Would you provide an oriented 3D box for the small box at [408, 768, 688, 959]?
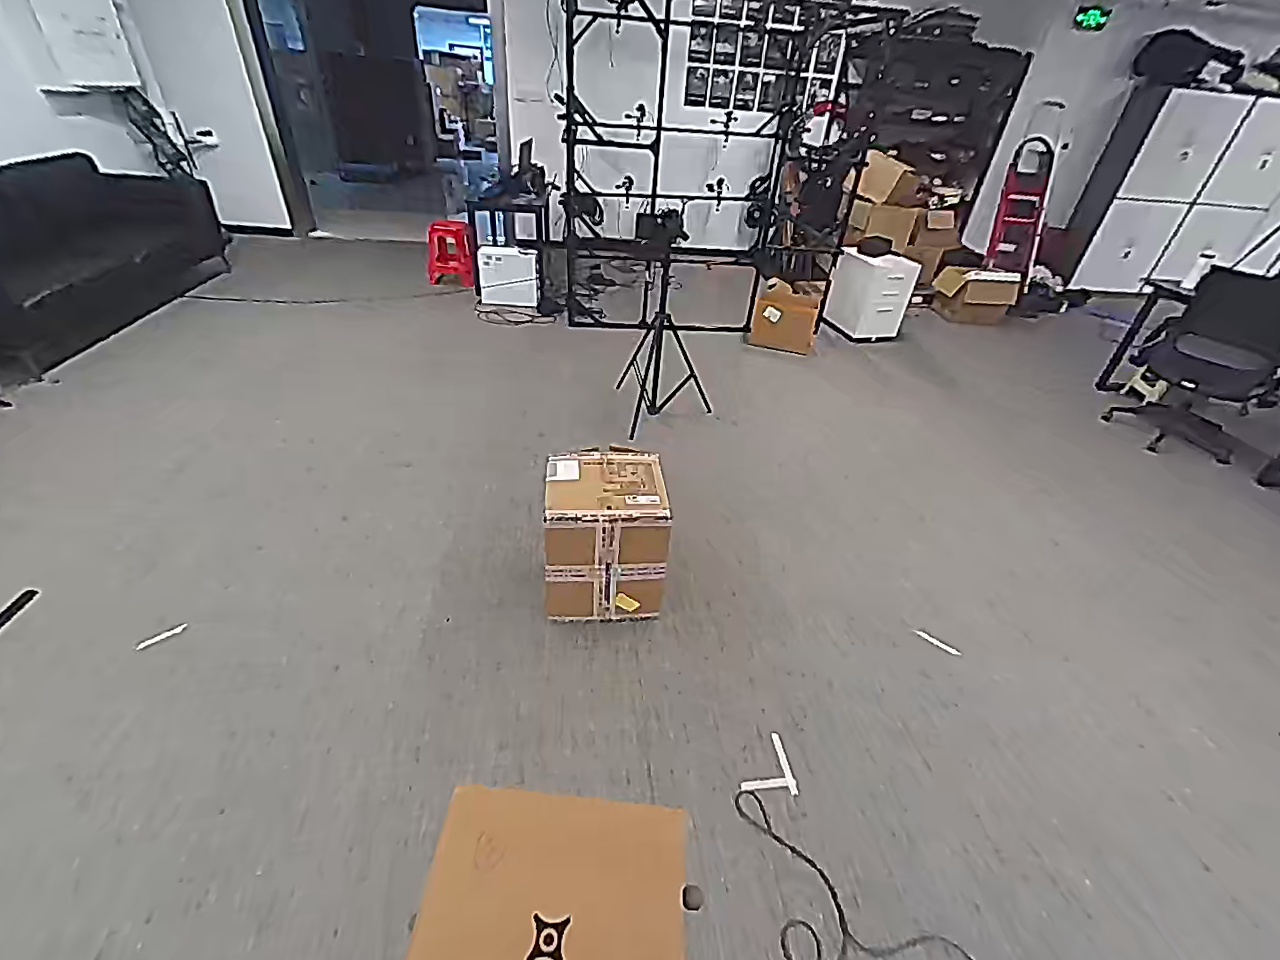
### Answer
[{"bbox_3d":[-0.059,0.335,0.388,0.168,0.176,0.179,5,46,2],"label":"small box"}]
